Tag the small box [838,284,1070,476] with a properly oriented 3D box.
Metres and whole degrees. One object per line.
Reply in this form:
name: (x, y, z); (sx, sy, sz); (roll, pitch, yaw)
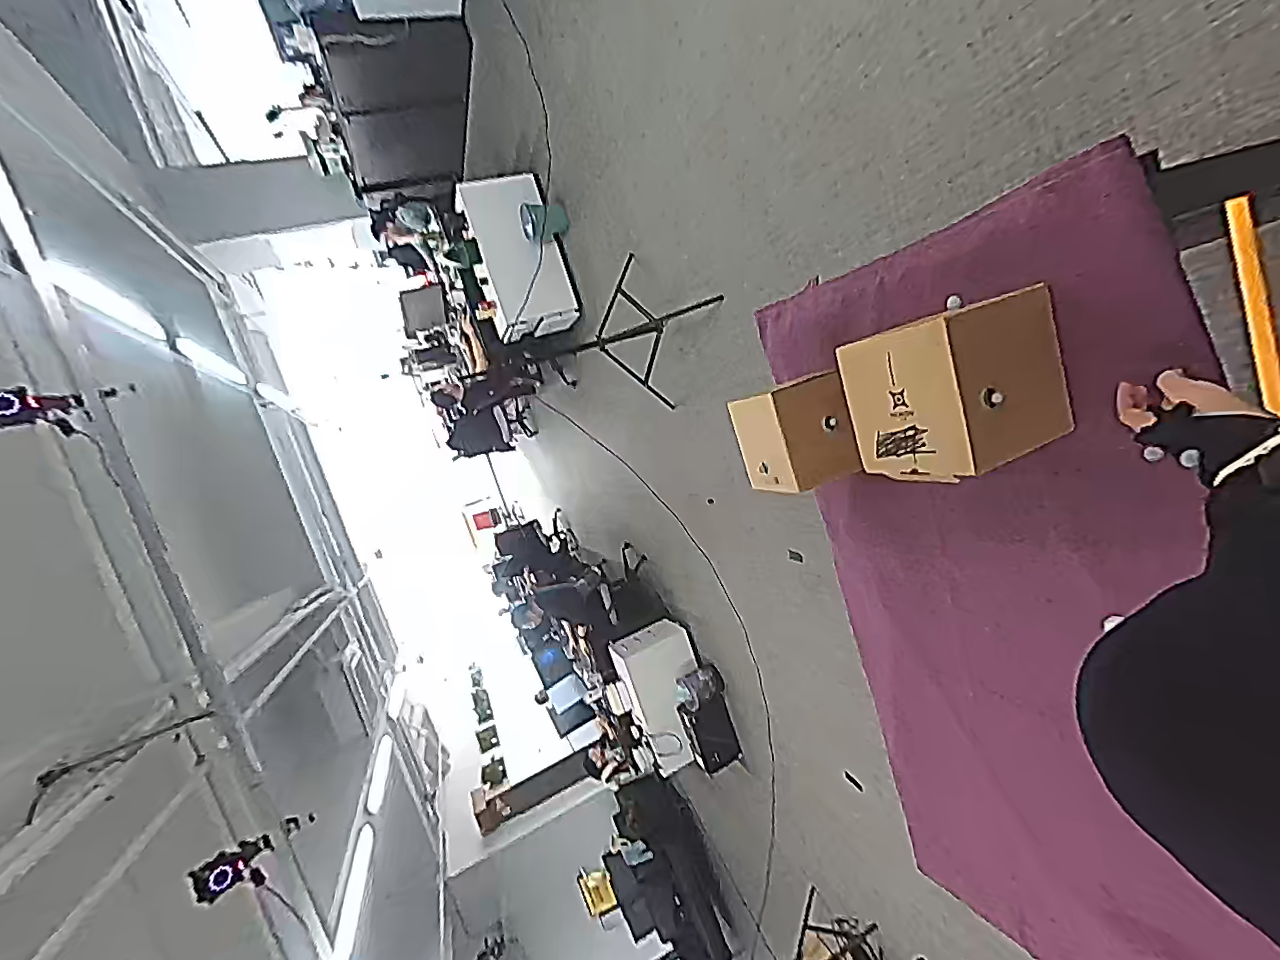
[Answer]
small box: (0.382, -0.116, 0.664); (0.168, 0.176, 0.179); (6, 115, 70)
